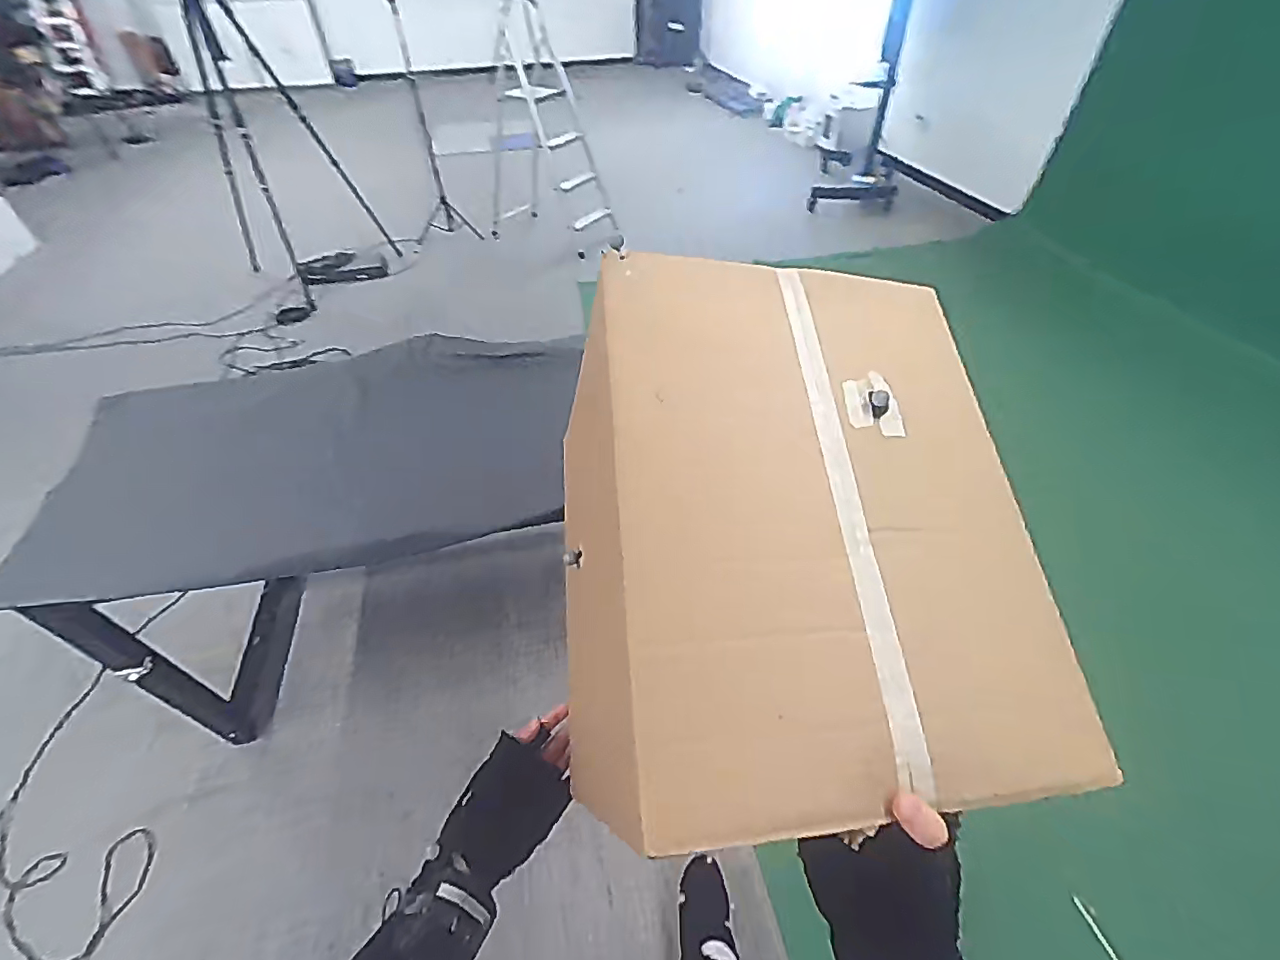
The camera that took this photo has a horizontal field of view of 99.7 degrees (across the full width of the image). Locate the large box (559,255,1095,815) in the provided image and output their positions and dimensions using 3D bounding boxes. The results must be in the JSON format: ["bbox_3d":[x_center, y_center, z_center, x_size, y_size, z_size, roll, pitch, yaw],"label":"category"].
[{"bbox_3d":[0.092,0.059,0.522,0.320,0.320,0.408,1,63,-14],"label":"large box"}]
